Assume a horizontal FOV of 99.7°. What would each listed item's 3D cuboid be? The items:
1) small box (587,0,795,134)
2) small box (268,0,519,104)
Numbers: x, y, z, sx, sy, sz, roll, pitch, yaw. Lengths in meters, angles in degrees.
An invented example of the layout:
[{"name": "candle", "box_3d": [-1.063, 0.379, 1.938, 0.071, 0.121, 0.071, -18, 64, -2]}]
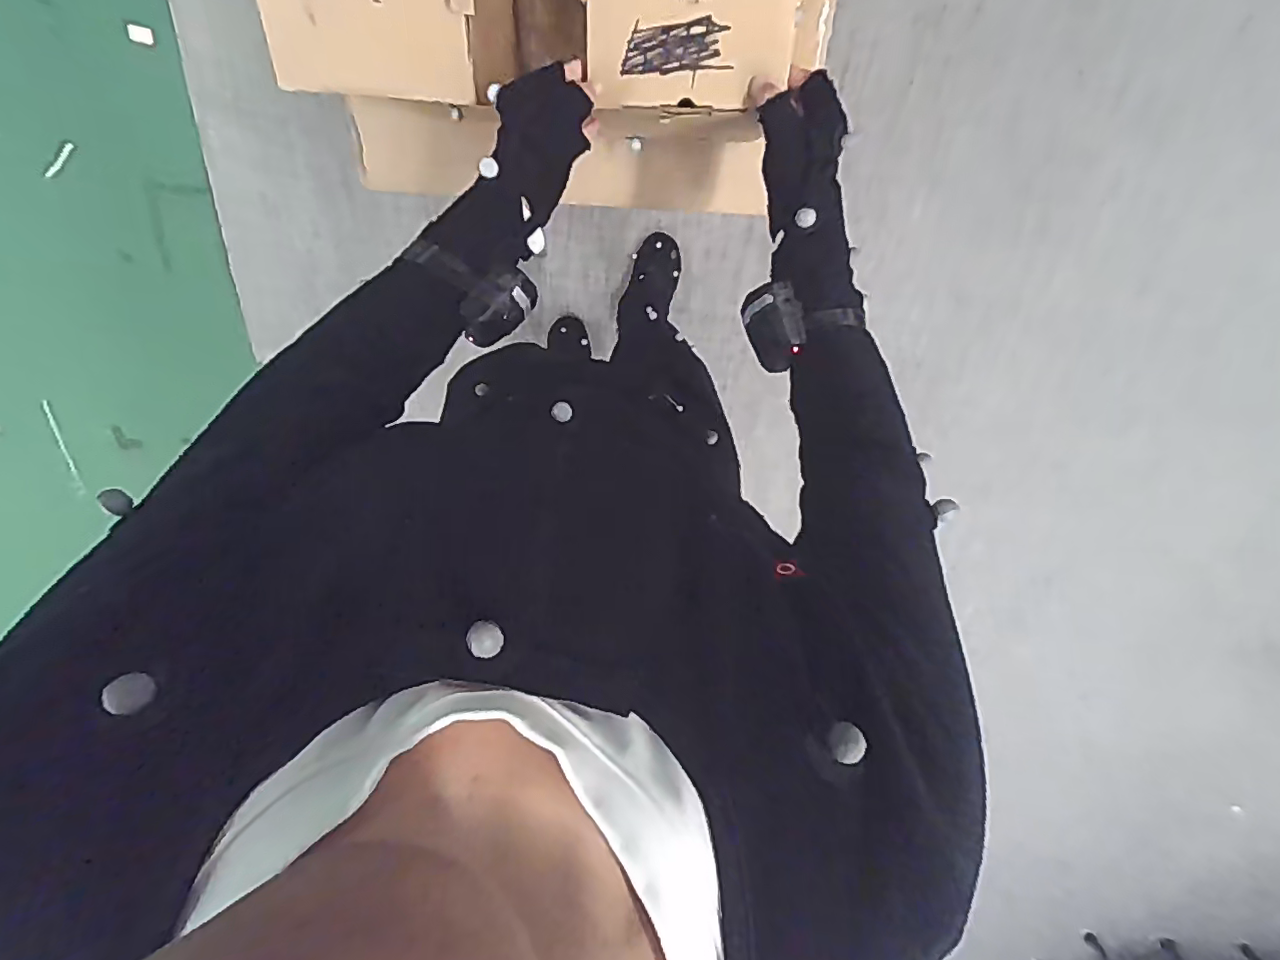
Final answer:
[{"name": "small box", "box_3d": [0.046, -0.425, 0.485, 0.168, 0.176, 0.179, 3, 114, 3]}, {"name": "small box", "box_3d": [-0.217, -0.454, 0.501, 0.179, 0.176, 0.168, 5, 124, 3]}]
